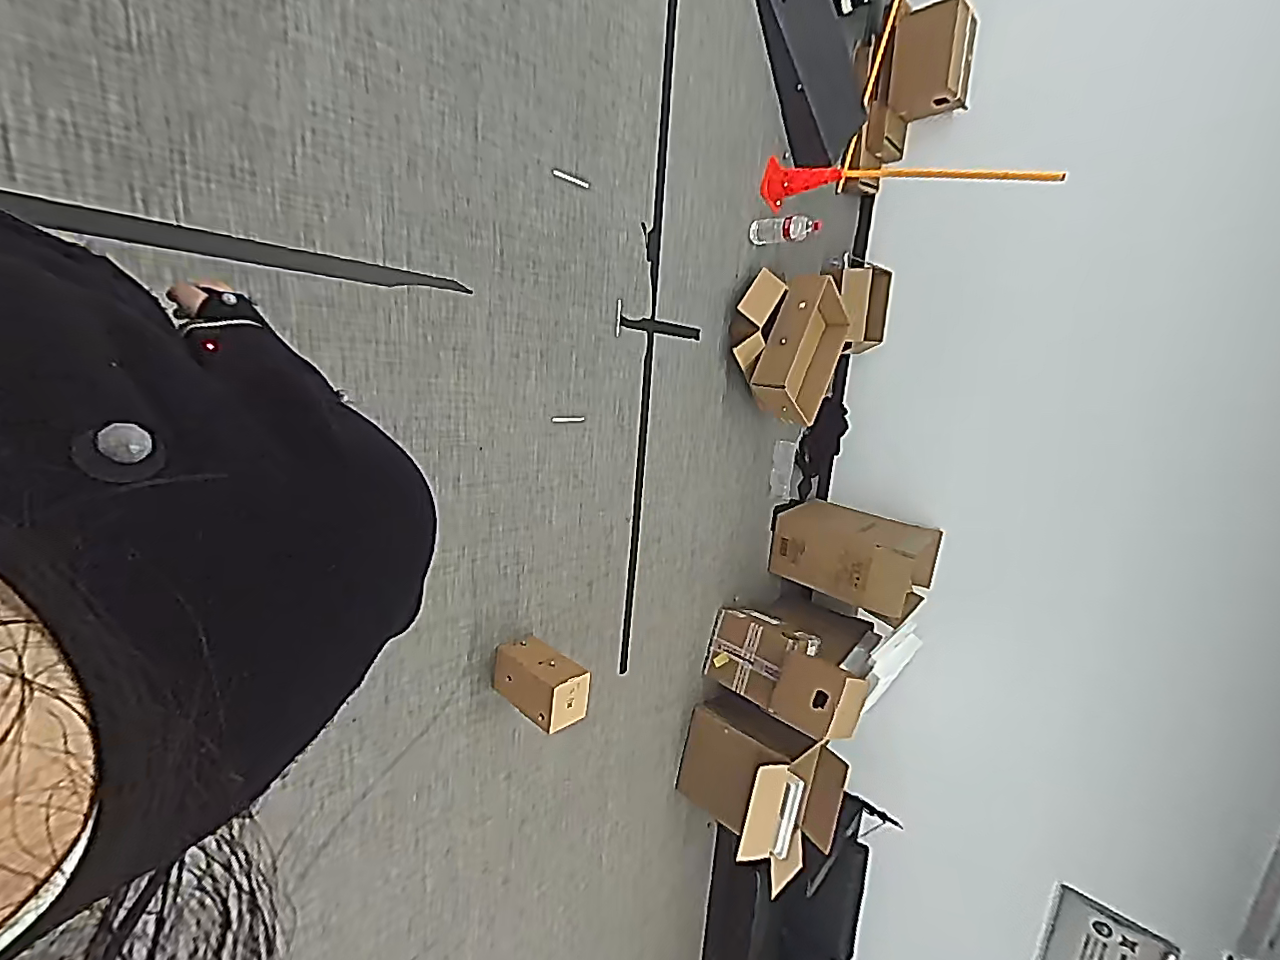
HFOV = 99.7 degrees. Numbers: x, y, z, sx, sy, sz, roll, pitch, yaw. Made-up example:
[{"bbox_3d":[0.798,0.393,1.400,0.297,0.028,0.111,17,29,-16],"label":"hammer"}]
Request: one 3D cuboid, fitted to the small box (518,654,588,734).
[{"bbox_3d":[-0.306,0.736,1.876,0.168,0.176,0.179,-4,104,-49],"label":"small box"}]
